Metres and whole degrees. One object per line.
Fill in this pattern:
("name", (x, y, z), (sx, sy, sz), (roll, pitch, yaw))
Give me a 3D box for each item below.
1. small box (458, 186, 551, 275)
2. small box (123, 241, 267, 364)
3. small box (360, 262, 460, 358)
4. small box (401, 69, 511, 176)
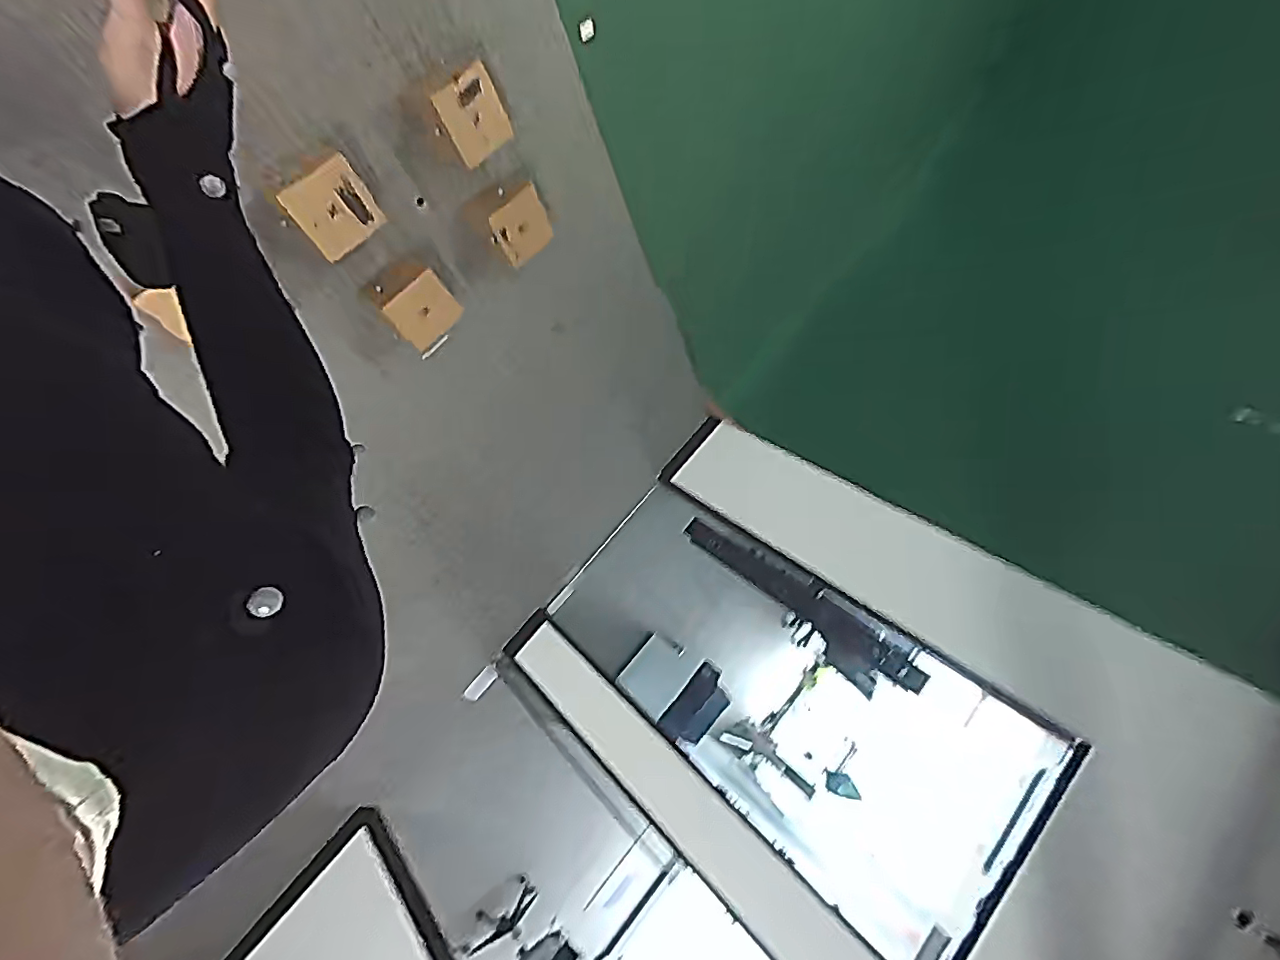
("small box", (-0.405, -0.751, 1.614), (0.179, 0.176, 0.168), (-47, 144, -16))
("small box", (-0.982, -0.396, 1.191), (0.179, 0.176, 0.168), (-48, 145, -12))
("small box", (-0.654, -0.481, 1.524), (0.179, 0.176, 0.168), (-48, 146, -13))
("small box", (-0.473, -0.921, 1.390), (0.168, 0.176, 0.179), (-47, 145, -14))
